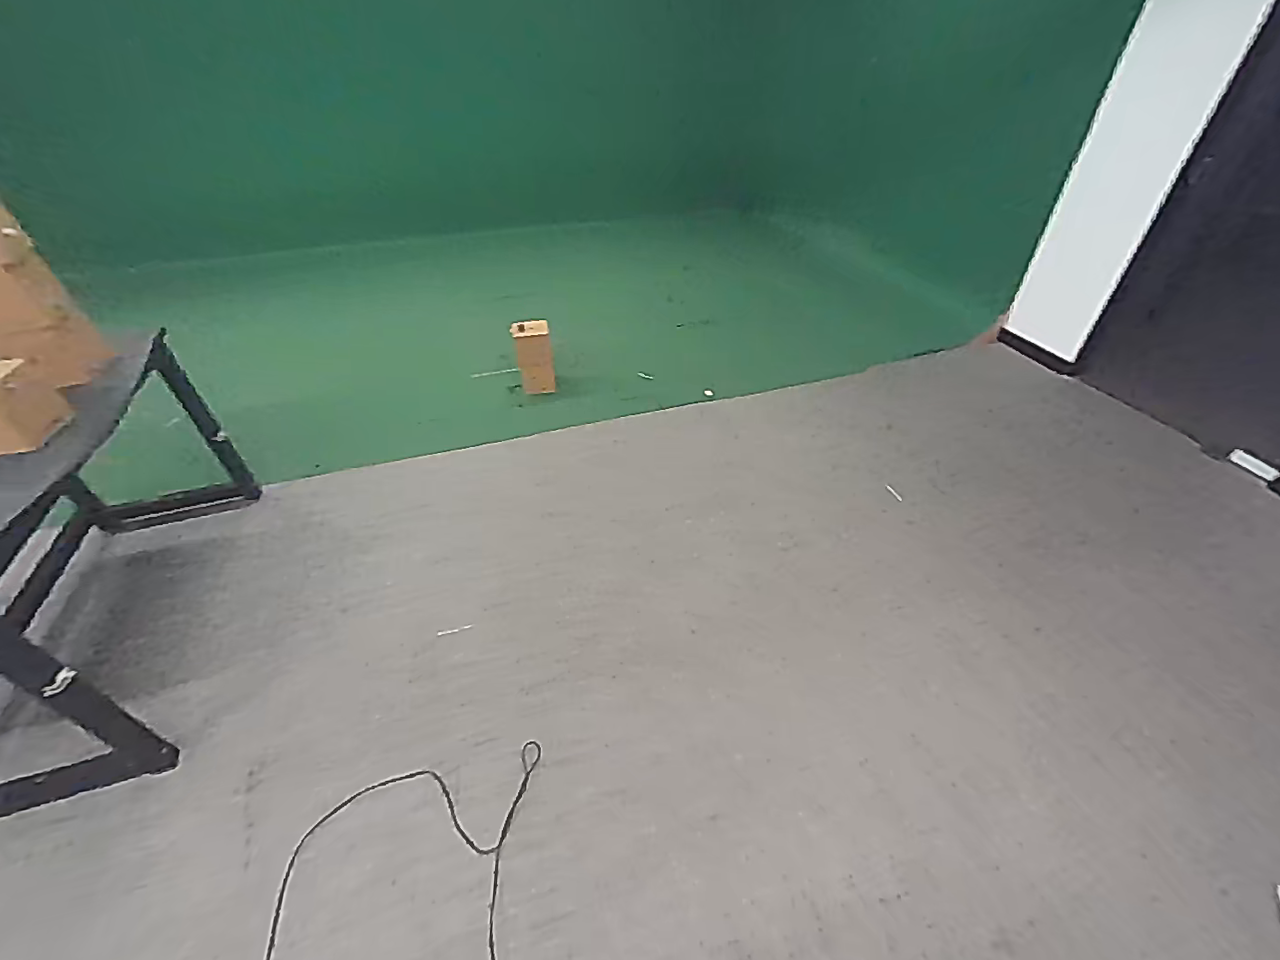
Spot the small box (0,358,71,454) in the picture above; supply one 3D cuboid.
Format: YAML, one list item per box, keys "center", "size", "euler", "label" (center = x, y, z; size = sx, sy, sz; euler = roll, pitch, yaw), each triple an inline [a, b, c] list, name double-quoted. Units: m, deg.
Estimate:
- center: [-1.559, -0.171, 1.297]
  size: [0.179, 0.176, 0.168]
  euler: [-9, 42, -5]
  label: "small box"

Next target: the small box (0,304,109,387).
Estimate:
- center: [-1.678, -0.373, 1.527]
  size: [0.179, 0.176, 0.168]
  euler: [-15, 44, -11]
  label: "small box"

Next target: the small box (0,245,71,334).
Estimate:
- center: [-1.681, -0.494, 1.419]
  size: [0.179, 0.176, 0.168]
  euler: [-16, 45, -15]
  label: "small box"

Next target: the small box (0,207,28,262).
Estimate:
- center: [-1.680, -0.619, 1.310]
  size: [0.179, 0.176, 0.168]
  euler: [-19, 46, -16]
  label: "small box"

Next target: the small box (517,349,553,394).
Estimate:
- center: [-0.553, -0.566, 2.846]
  size: [0.168, 0.176, 0.179]
  euler: [-7, 41, -7]
  label: "small box"
